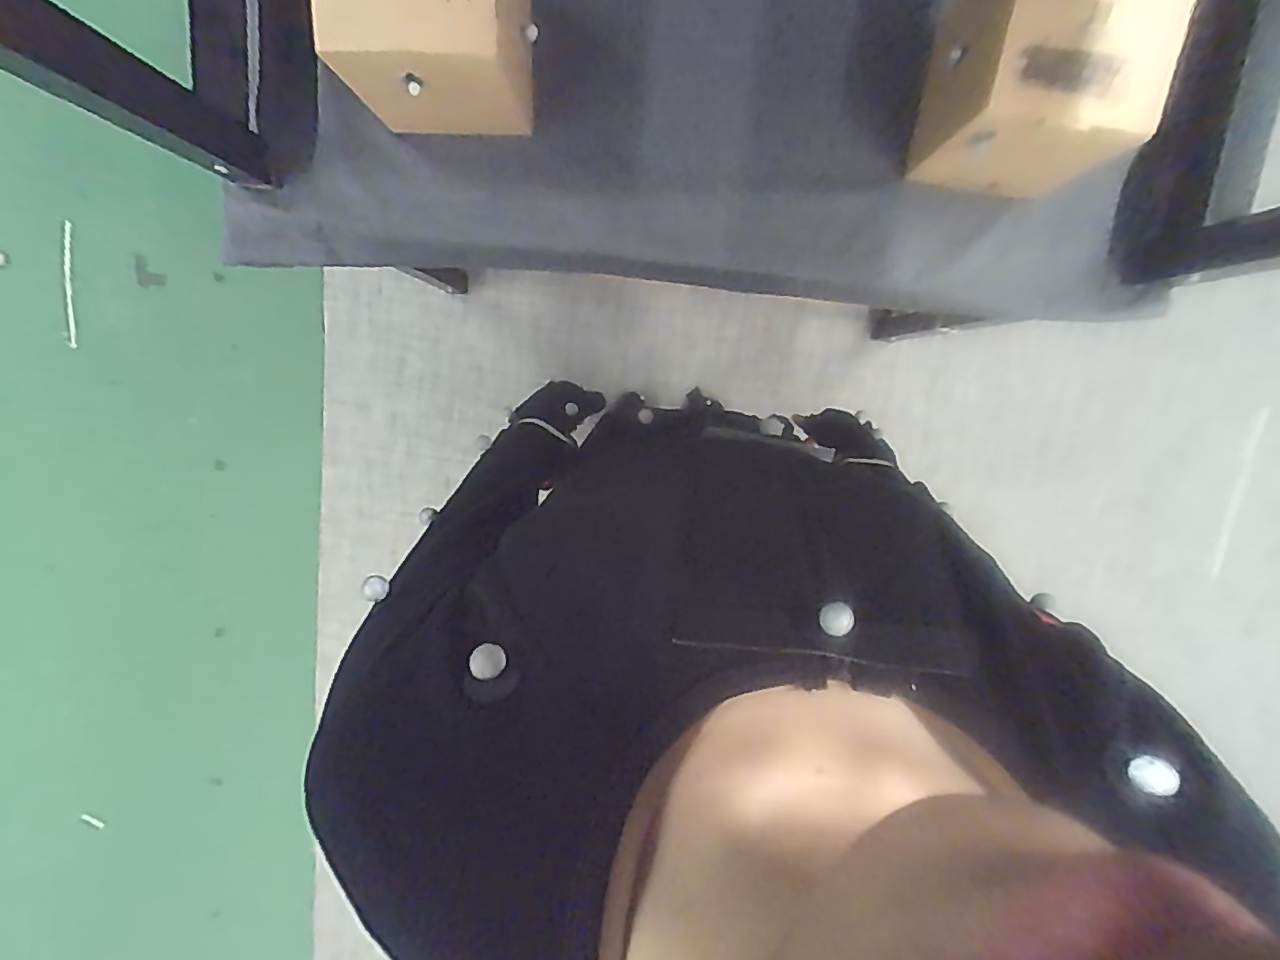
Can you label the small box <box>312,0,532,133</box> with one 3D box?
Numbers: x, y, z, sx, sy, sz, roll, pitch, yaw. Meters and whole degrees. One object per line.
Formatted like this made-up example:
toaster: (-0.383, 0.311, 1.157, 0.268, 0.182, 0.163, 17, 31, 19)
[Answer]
small box: (-0.219, -0.496, 0.577, 0.179, 0.176, 0.168, 1, 101, -1)
